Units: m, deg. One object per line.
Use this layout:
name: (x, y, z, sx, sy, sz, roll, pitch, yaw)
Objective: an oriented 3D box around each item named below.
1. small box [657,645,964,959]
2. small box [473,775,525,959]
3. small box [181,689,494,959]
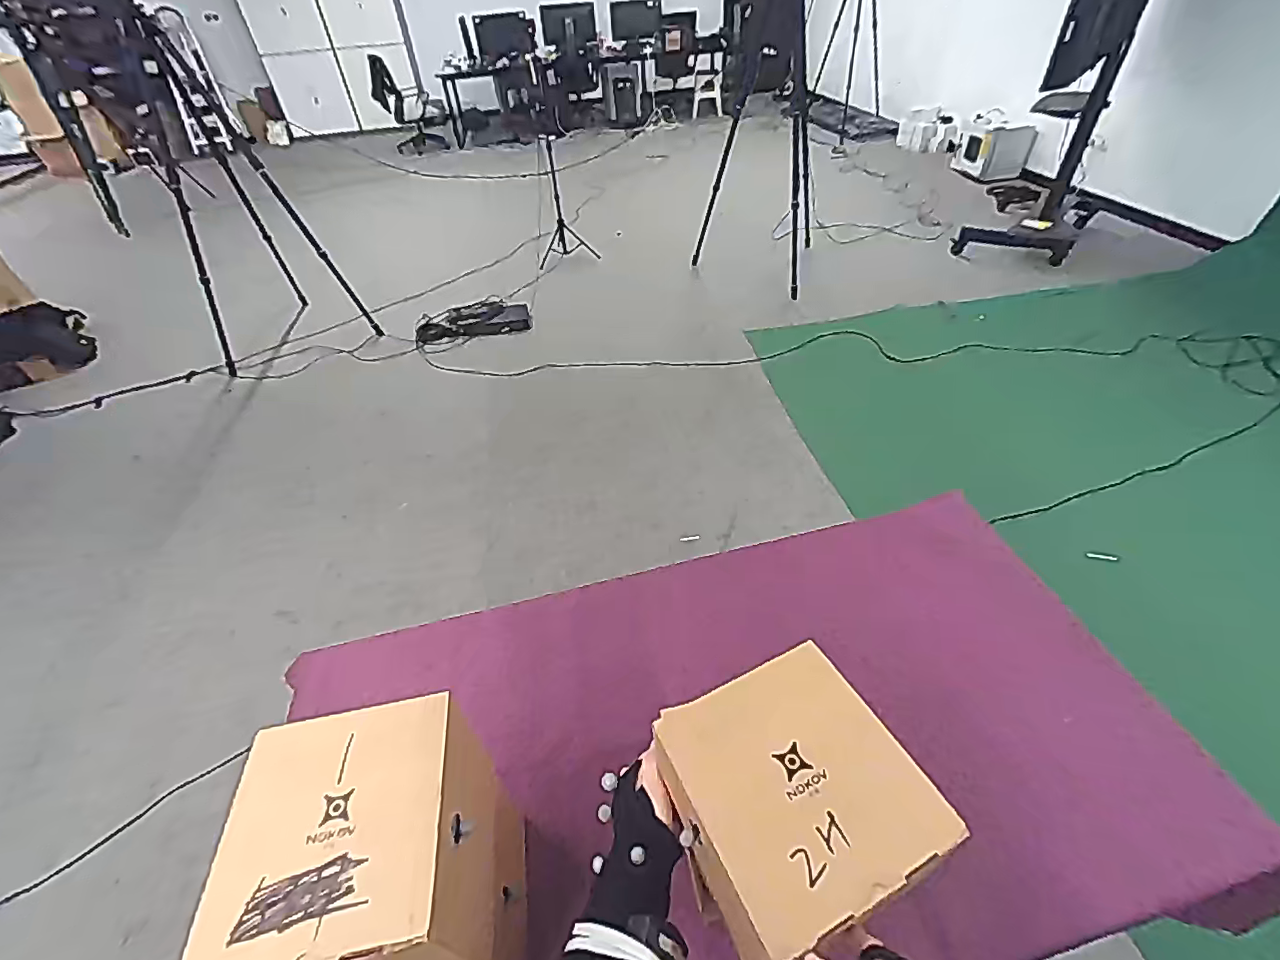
small box: (0.125, 0.285, 0.470, 0.168, 0.176, 0.179, -21, 46, -15)
small box: (-0.221, 0.438, 0.577, 0.168, 0.176, 0.179, -9, 45, -6)
small box: (-0.229, 0.314, 0.468, 0.168, 0.176, 0.179, -9, 43, -5)
